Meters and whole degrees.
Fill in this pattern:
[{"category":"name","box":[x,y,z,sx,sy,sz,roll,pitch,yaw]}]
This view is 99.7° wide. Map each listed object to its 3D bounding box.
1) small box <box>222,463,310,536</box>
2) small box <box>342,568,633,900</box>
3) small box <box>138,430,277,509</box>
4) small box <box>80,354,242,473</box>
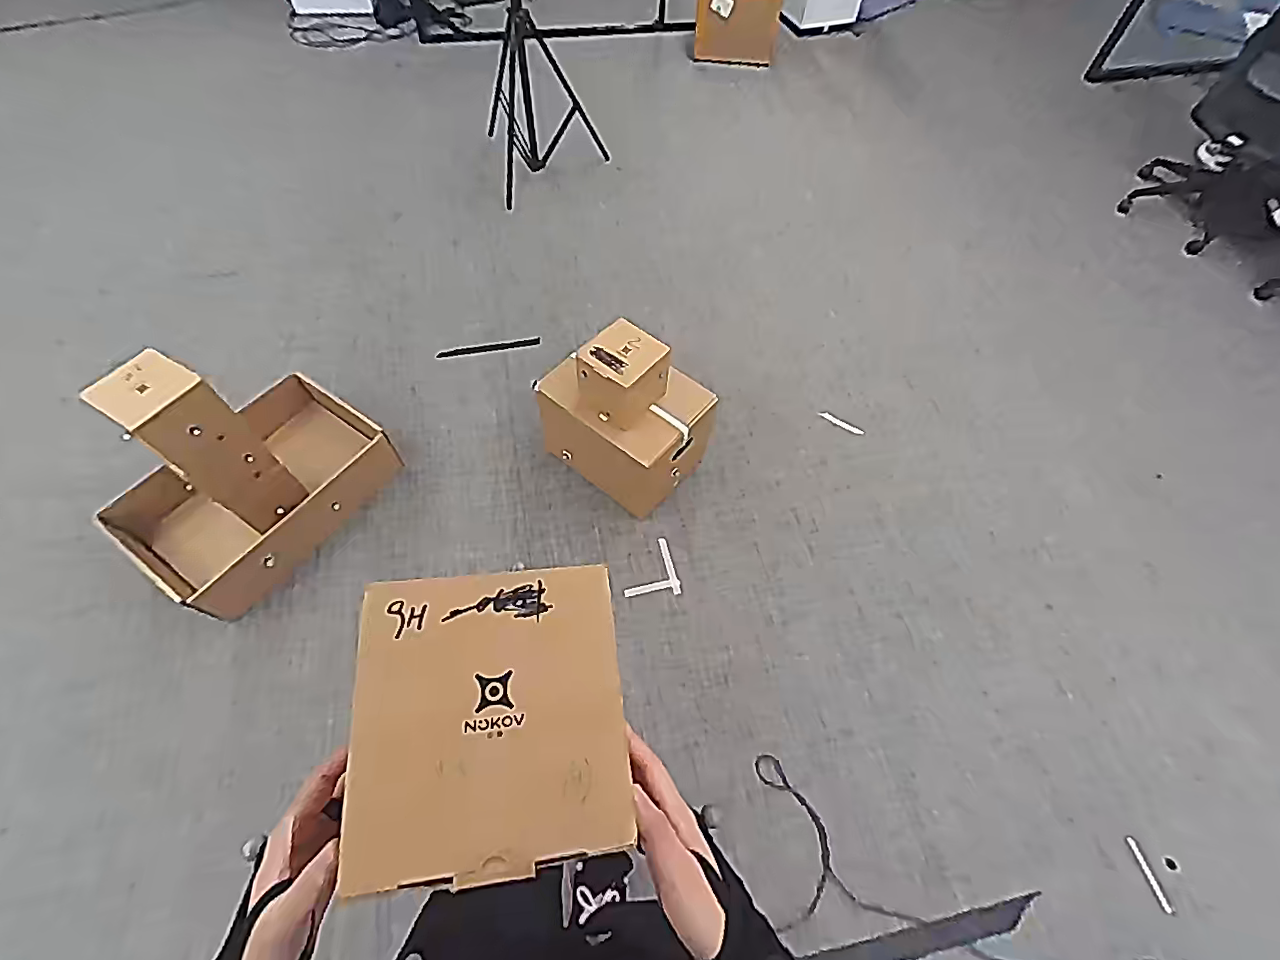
[{"category":"small box","box":[-1.060,0.028,1.483,0.179,0.176,0.168,31,63,15]},{"category":"small box","box":[-0.104,0.180,0.412,0.168,0.176,0.179,-3,64,-11]},{"category":"small box","box":[-1.059,-0.052,1.342,0.179,0.176,0.168,27,61,14]},{"category":"small box","box":[-1.048,-0.140,1.203,0.179,0.176,0.168,27,60,13]}]
